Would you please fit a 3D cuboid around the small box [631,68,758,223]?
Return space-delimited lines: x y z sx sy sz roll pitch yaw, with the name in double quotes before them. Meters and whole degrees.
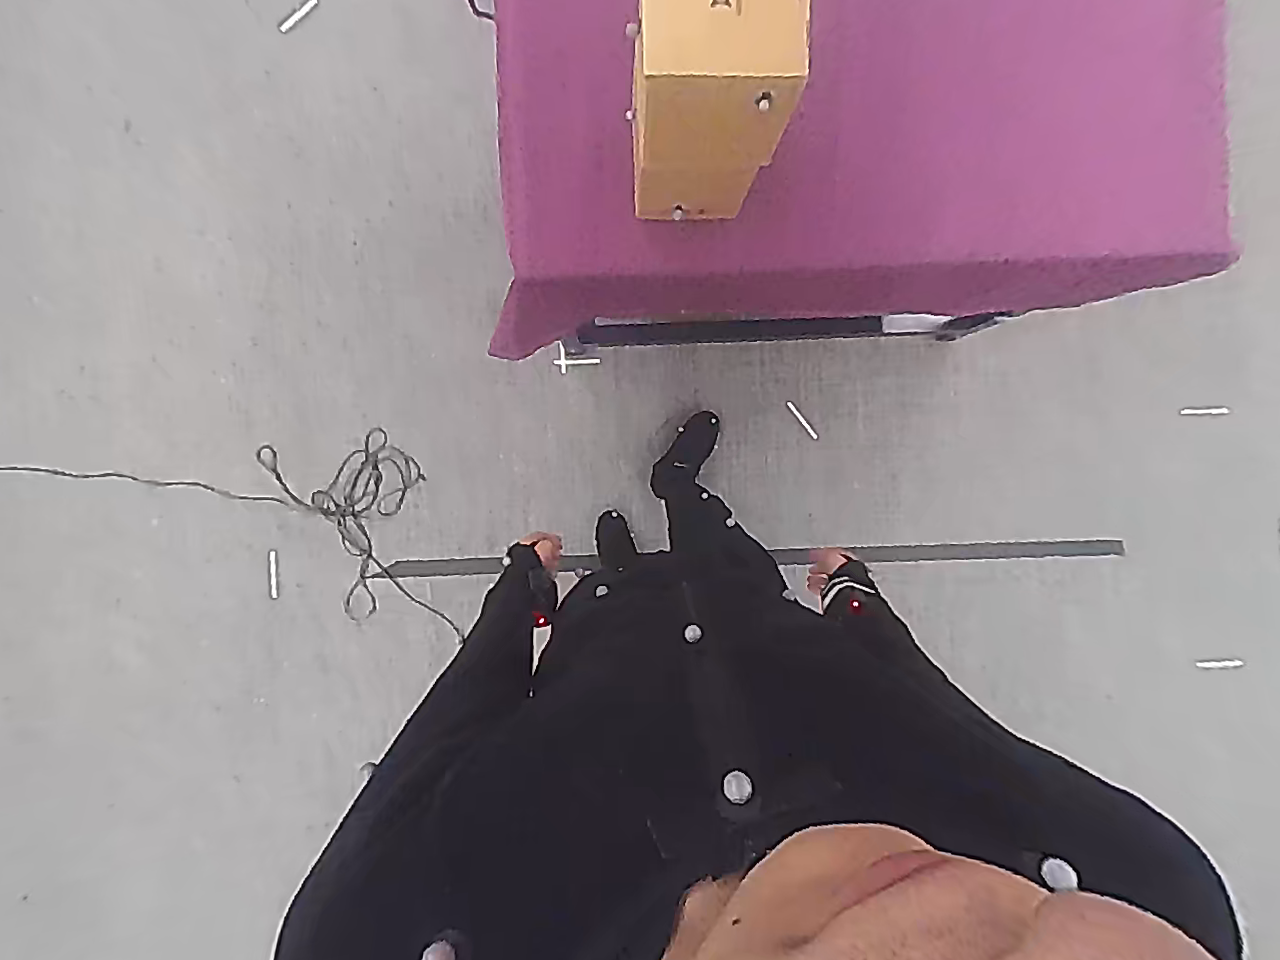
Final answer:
"small box" 0.071 -0.503 0.793 0.168 0.176 0.179 -2 92 -1

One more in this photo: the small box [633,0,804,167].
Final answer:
"small box" 0.080 -0.492 0.632 0.179 0.176 0.168 -1 92 -2
